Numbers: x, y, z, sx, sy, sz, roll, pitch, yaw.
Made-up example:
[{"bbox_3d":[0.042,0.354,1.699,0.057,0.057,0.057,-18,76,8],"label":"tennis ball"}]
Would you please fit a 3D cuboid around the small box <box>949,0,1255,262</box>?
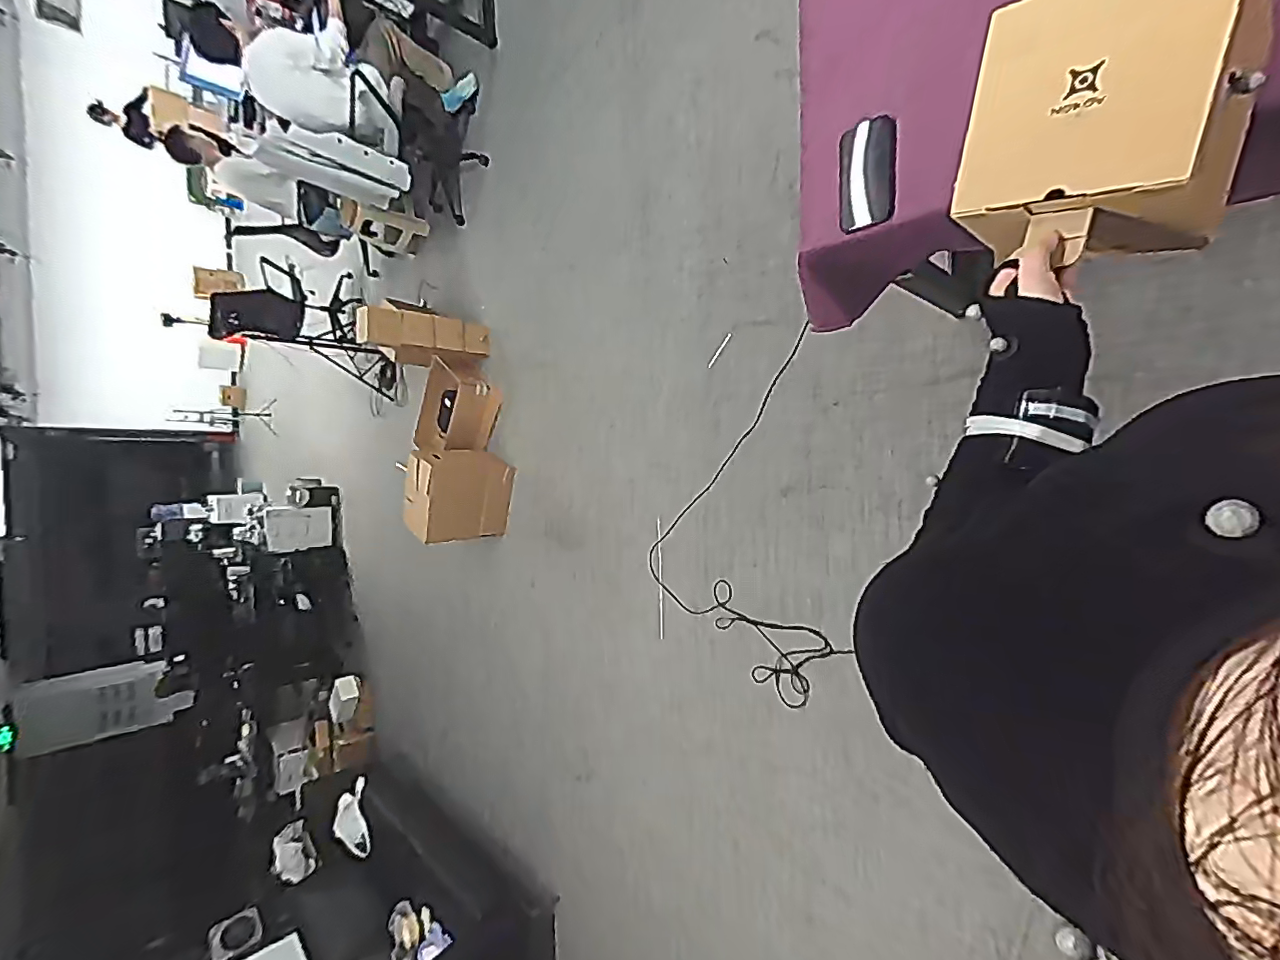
[{"bbox_3d":[0.421,-0.318,0.498,0.168,0.176,0.179,19,105,48],"label":"small box"}]
